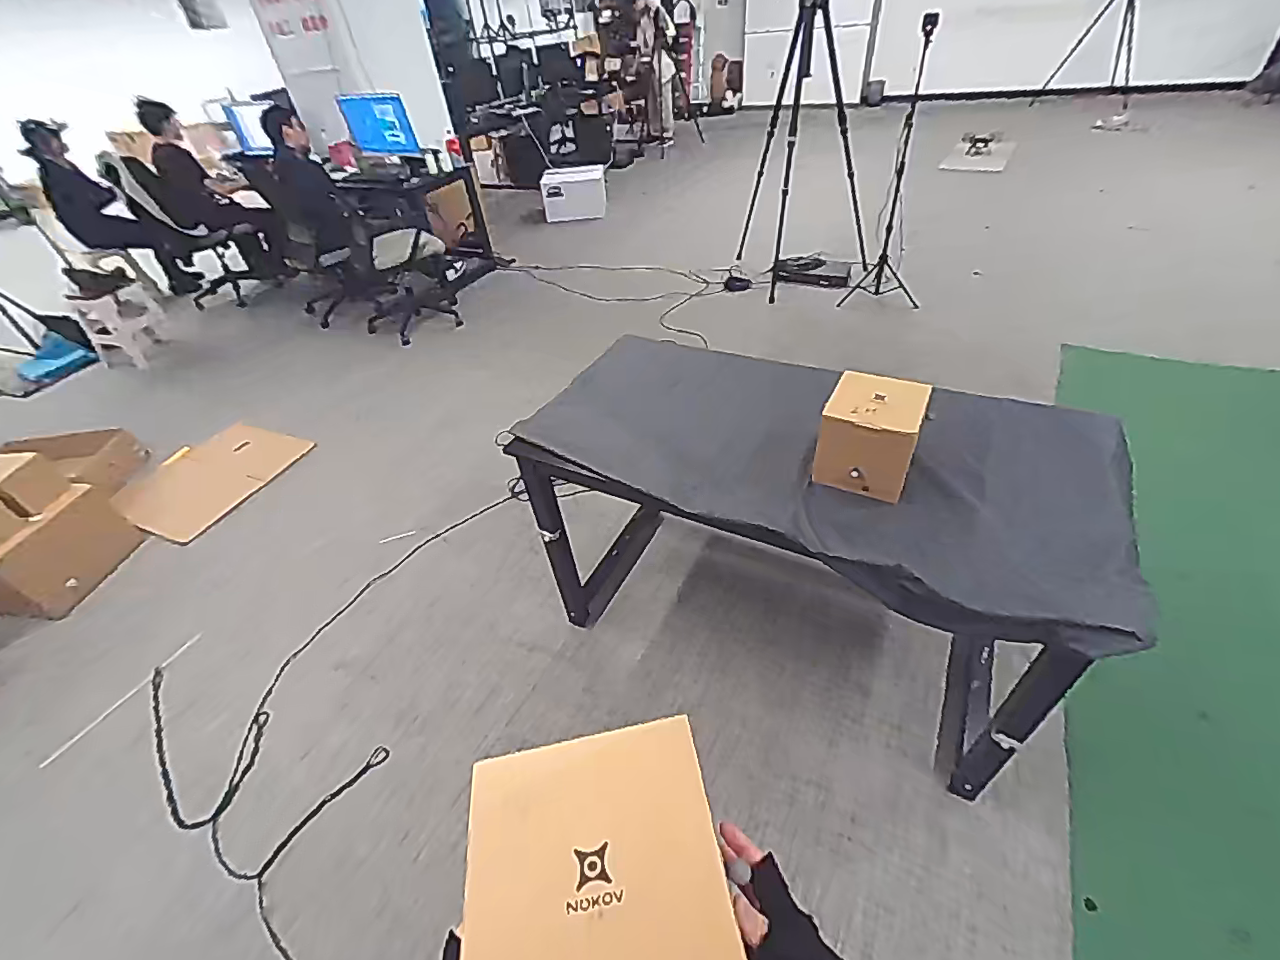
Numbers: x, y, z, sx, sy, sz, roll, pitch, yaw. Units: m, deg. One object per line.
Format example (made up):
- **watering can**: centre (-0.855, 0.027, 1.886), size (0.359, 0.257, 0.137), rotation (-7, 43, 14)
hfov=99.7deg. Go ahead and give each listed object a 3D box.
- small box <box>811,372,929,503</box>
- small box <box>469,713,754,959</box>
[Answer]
- **small box**: centre (0.450, -0.087, 1.072), size (0.168, 0.176, 0.179), rotation (18, 47, 25)
- **small box**: centre (-0.018, 0.306, 0.398), size (0.168, 0.176, 0.179), rotation (-11, 43, -3)
